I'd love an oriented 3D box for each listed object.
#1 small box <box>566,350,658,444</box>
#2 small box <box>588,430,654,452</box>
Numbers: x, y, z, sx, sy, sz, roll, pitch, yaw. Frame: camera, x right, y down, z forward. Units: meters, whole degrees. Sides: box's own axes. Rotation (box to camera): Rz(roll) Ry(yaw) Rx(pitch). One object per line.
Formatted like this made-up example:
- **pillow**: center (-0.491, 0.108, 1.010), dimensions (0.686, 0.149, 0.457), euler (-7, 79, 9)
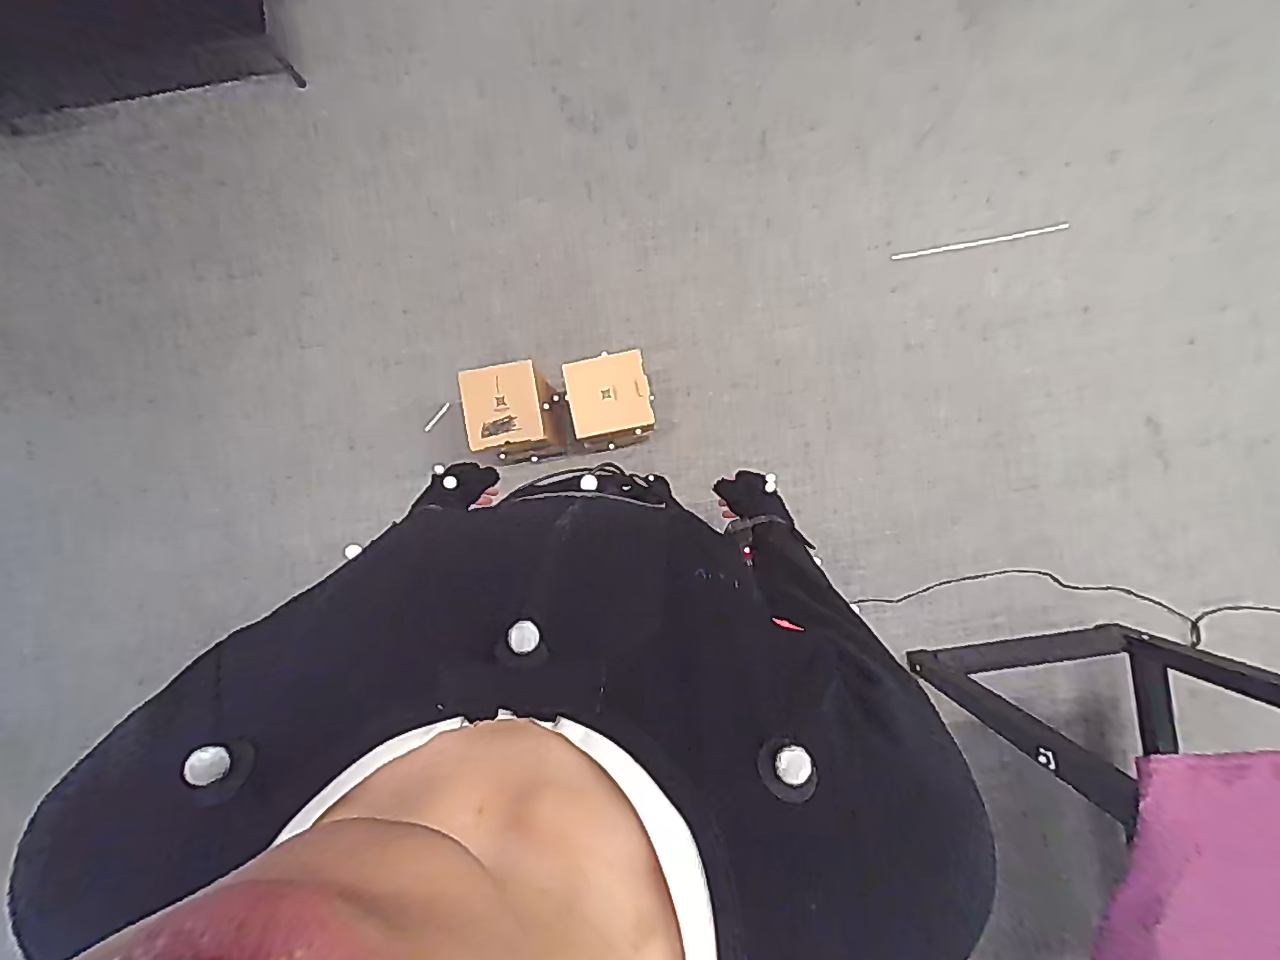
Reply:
- **small box**: center (-0.058, -0.182, 1.238), dimensions (0.179, 0.176, 0.168), euler (-12, 90, 0)
- **small box**: center (-0.060, -0.176, 1.402), dimensions (0.168, 0.176, 0.179), euler (-12, 90, 2)
